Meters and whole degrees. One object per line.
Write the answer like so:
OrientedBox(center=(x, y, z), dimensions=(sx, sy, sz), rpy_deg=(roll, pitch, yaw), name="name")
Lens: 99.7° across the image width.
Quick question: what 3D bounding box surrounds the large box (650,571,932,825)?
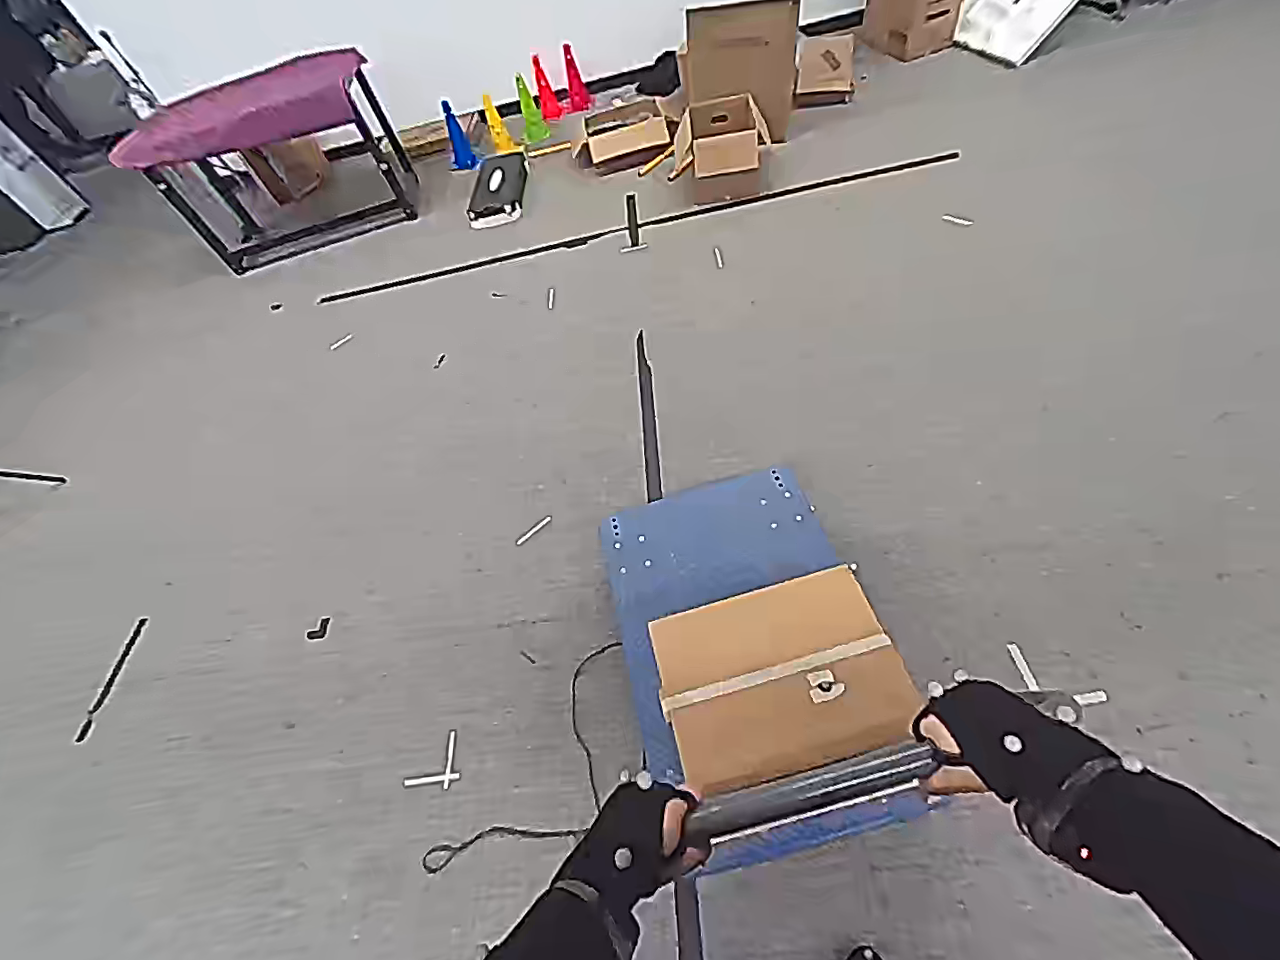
OrientedBox(center=(0.266, 0.433, 1.056), dimensions=(0.408, 0.320, 0.320), rpy_deg=(-16, 53, 0), name="large box")
